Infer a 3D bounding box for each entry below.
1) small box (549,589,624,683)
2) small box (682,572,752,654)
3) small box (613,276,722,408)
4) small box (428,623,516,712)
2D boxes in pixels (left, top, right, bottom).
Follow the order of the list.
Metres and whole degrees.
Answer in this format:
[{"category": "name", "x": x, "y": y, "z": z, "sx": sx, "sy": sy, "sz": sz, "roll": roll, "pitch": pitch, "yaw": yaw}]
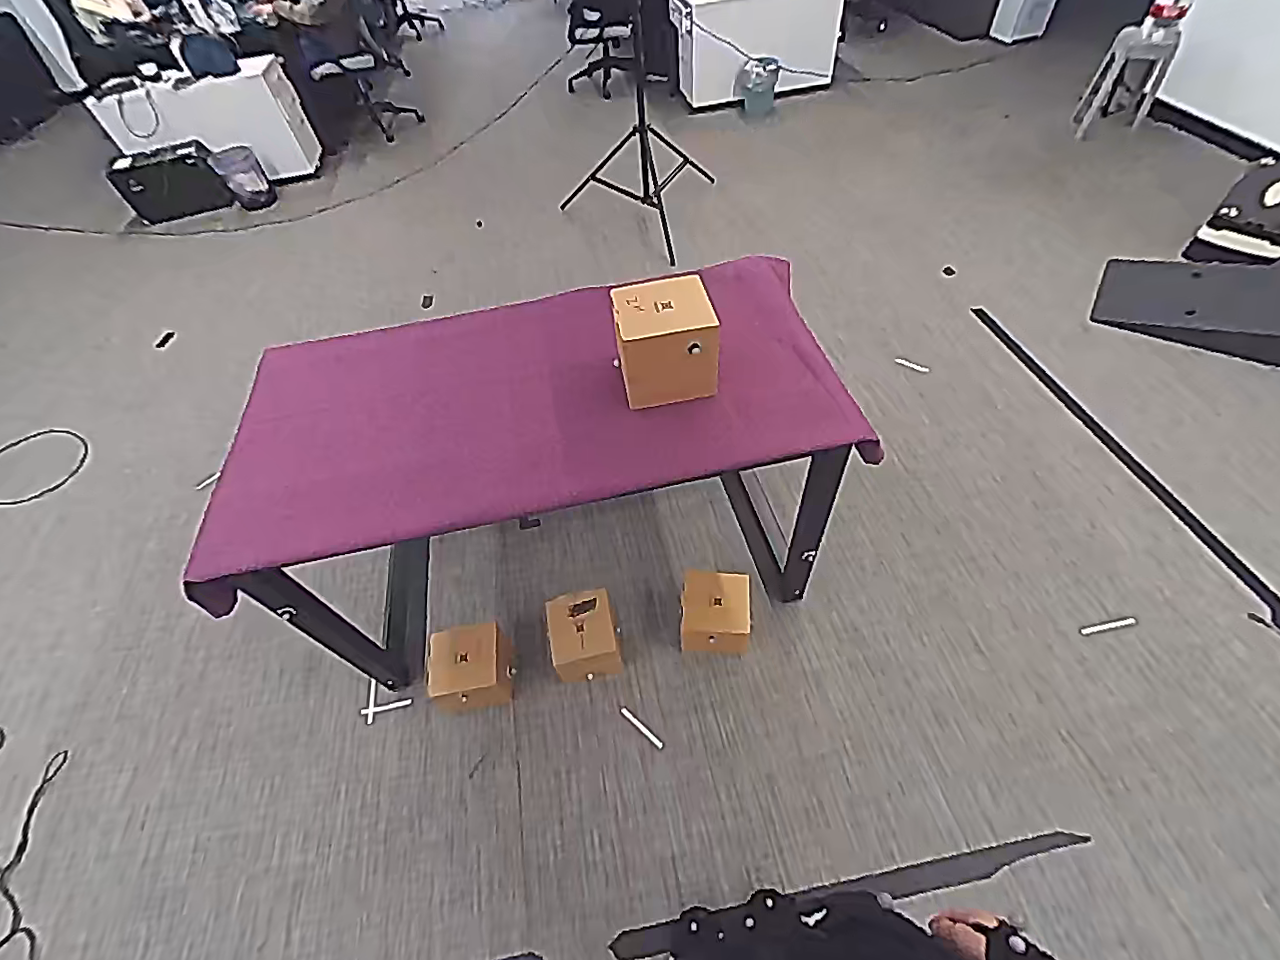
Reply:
[{"category": "small box", "x": -0.143, "y": 0.424, "z": 1.459, "sx": 0.168, "sy": 0.176, "sz": 0.179, "roll": -13, "pitch": 53, "yaw": -3}, {"category": "small box", "x": 0.208, "y": 0.365, "z": 1.467, "sx": 0.179, "sy": 0.176, "sz": 0.168, "roll": 1, "pitch": 54, "yaw": 9}, {"category": "small box", "x": 0.052, "y": -0.261, "z": 1.039, "sx": 0.179, "sy": 0.176, "sz": 0.168, "roll": -11, "pitch": 51, "yaw": -1}, {"category": "small box", "x": -0.438, "y": 0.501, "z": 1.435, "sx": 0.179, "sy": 0.176, "sz": 0.168, "roll": -9, "pitch": 53, "yaw": -2}]
